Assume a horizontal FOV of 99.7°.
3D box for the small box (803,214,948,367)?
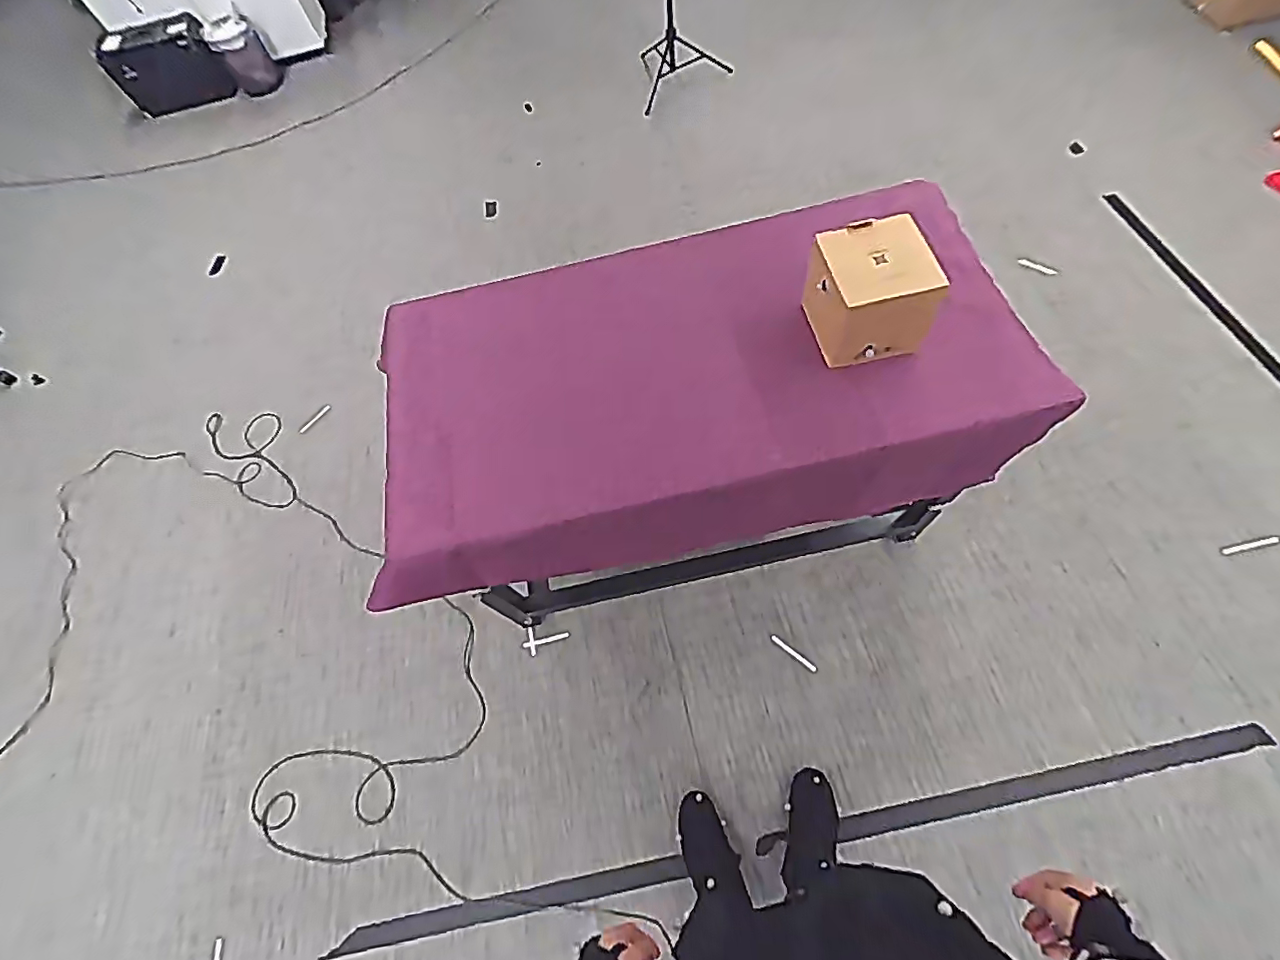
[{"bbox_3d":[0.399,-0.329,0.956,0.168,0.176,0.179,-12,64,3],"label":"small box"}]
